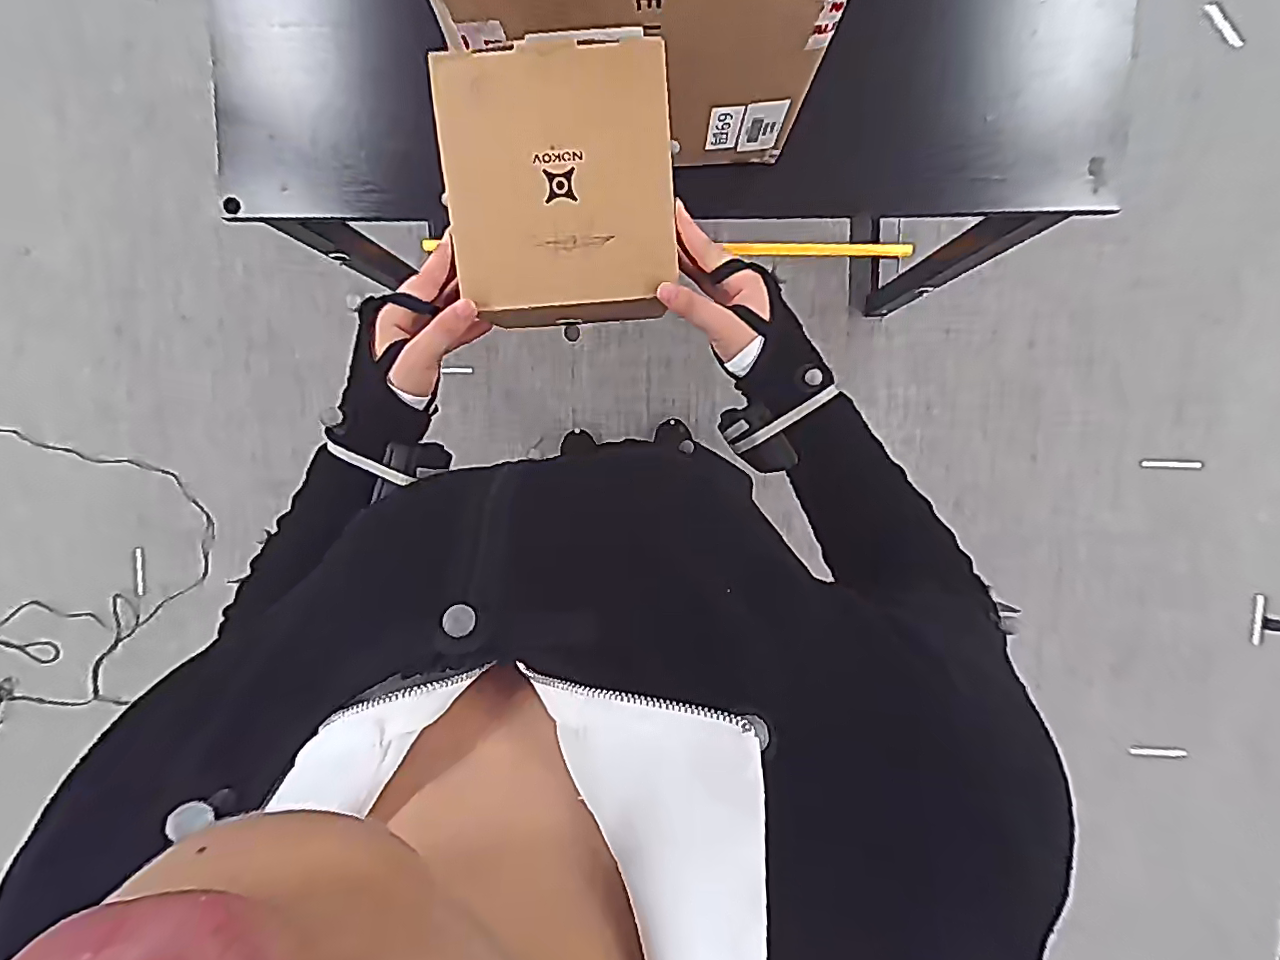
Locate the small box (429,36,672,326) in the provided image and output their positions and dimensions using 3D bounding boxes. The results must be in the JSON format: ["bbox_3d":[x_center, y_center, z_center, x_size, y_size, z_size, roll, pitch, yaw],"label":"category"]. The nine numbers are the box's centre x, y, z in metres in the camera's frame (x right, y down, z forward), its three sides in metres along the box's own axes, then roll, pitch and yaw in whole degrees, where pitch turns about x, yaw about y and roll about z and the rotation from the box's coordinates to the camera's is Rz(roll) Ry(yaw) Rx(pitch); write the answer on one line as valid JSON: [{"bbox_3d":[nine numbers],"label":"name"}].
[{"bbox_3d":[-0.065,-0.236,0.470,0.168,0.176,0.179,-4,102,-1],"label":"small box"}]
